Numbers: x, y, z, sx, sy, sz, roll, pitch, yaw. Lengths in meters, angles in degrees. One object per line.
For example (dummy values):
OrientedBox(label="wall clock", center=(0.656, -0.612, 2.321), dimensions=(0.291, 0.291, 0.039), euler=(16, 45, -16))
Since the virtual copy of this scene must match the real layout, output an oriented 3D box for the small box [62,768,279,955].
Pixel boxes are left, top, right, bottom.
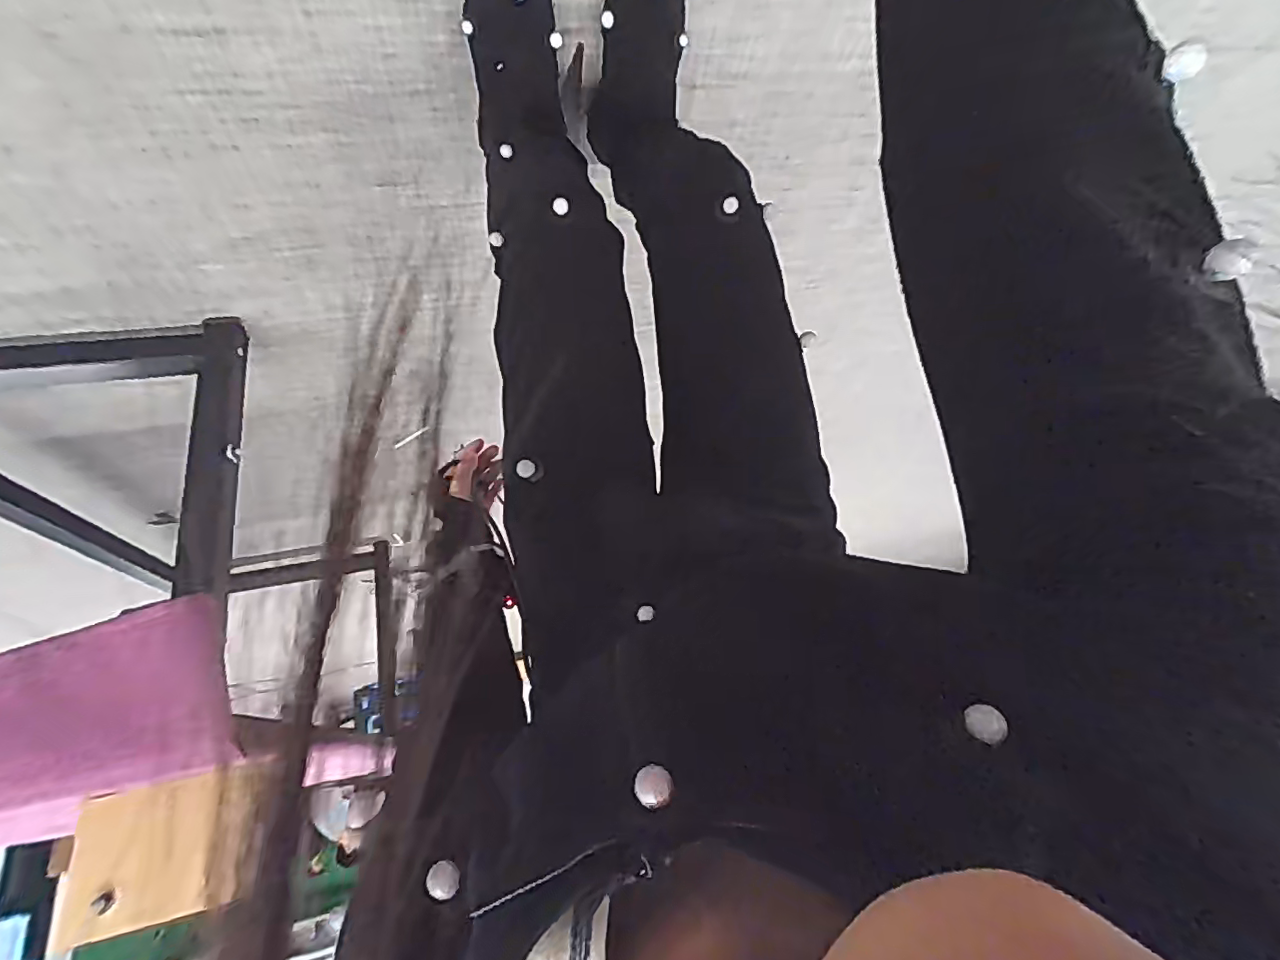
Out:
OrientedBox(label="small box", center=(-0.647, 0.525, 0.775), dimensions=(0.179, 0.176, 0.168), euler=(-9, 156, -13))
